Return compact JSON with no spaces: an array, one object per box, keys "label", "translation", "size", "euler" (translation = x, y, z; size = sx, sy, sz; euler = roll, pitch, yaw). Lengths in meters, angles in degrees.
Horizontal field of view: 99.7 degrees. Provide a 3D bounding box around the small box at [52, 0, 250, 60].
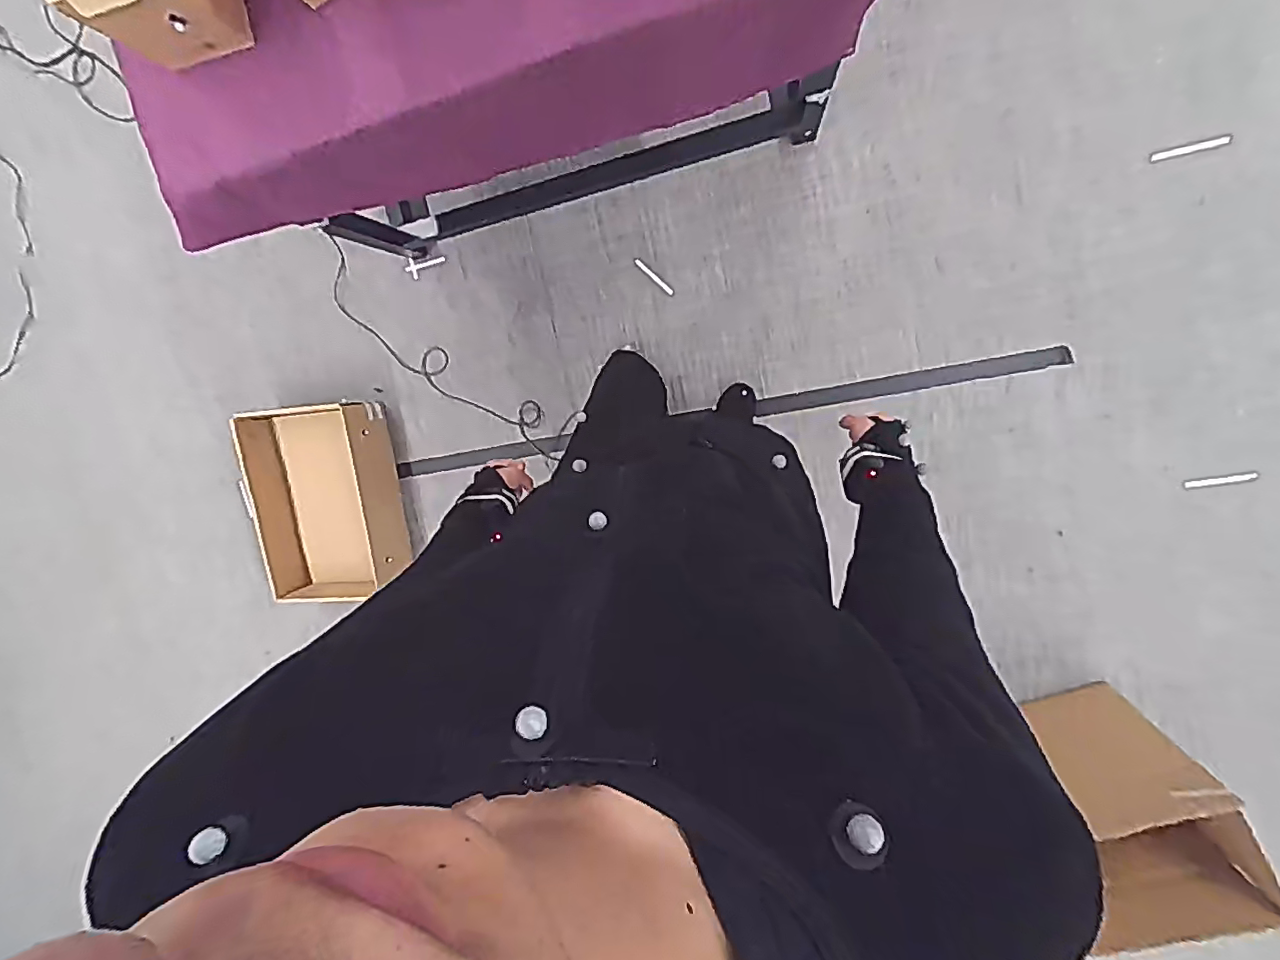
[{"label":"small box","translation":[-0.706,-0.744,0.773],"size":[0.168,0.176,0.179],"euler":[-6,100,11]}]
